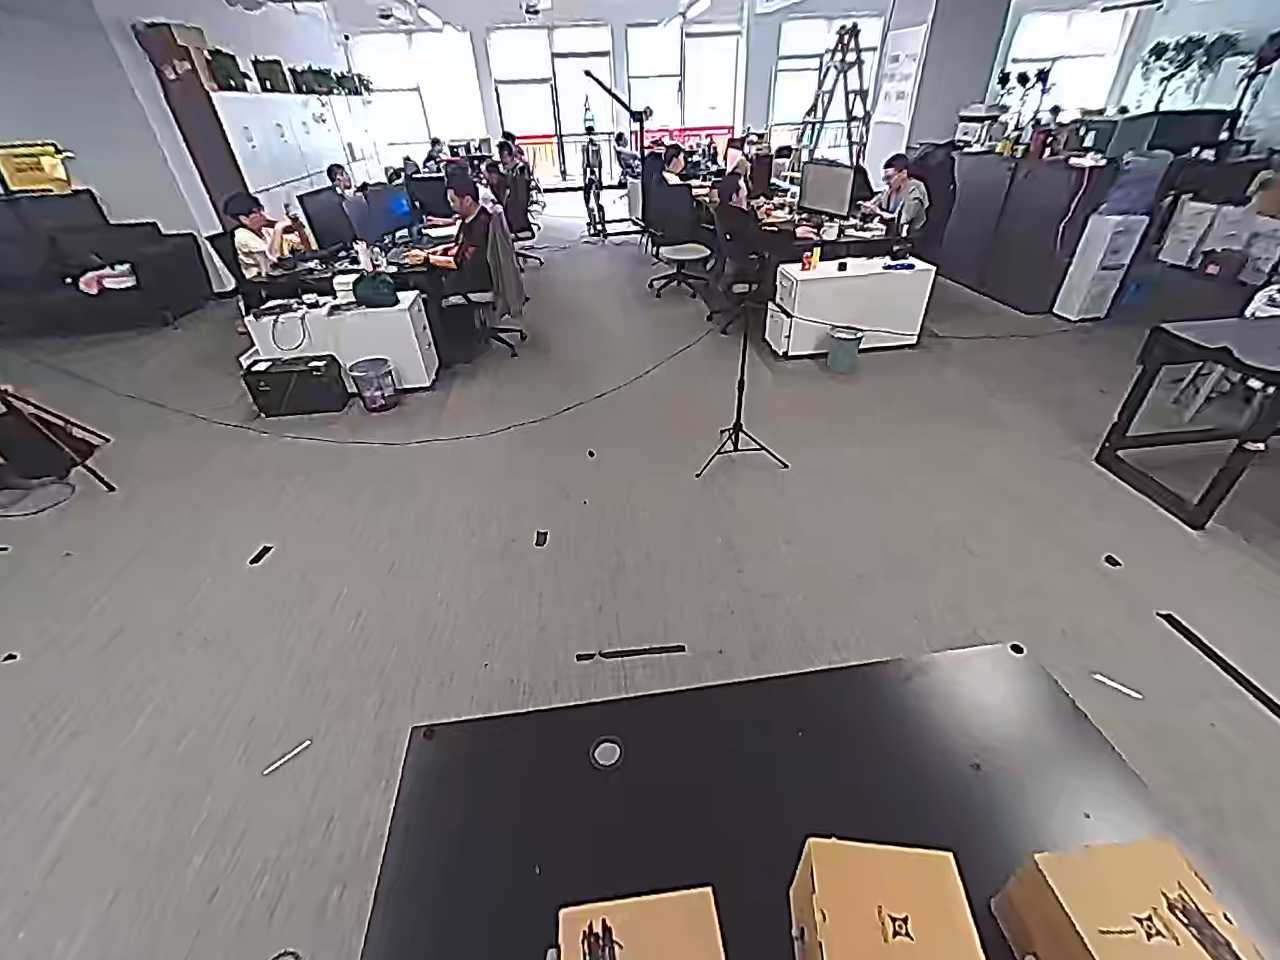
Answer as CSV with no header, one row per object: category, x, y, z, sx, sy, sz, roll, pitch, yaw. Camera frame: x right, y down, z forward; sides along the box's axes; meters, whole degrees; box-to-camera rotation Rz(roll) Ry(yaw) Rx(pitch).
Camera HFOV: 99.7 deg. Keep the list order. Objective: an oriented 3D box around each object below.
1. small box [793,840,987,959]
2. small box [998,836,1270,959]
small box,0.290,0.563,0.644,0.179,0.176,0.168,1,34,7
small box,0.570,0.551,0.632,0.179,0.176,0.168,-6,34,-2
